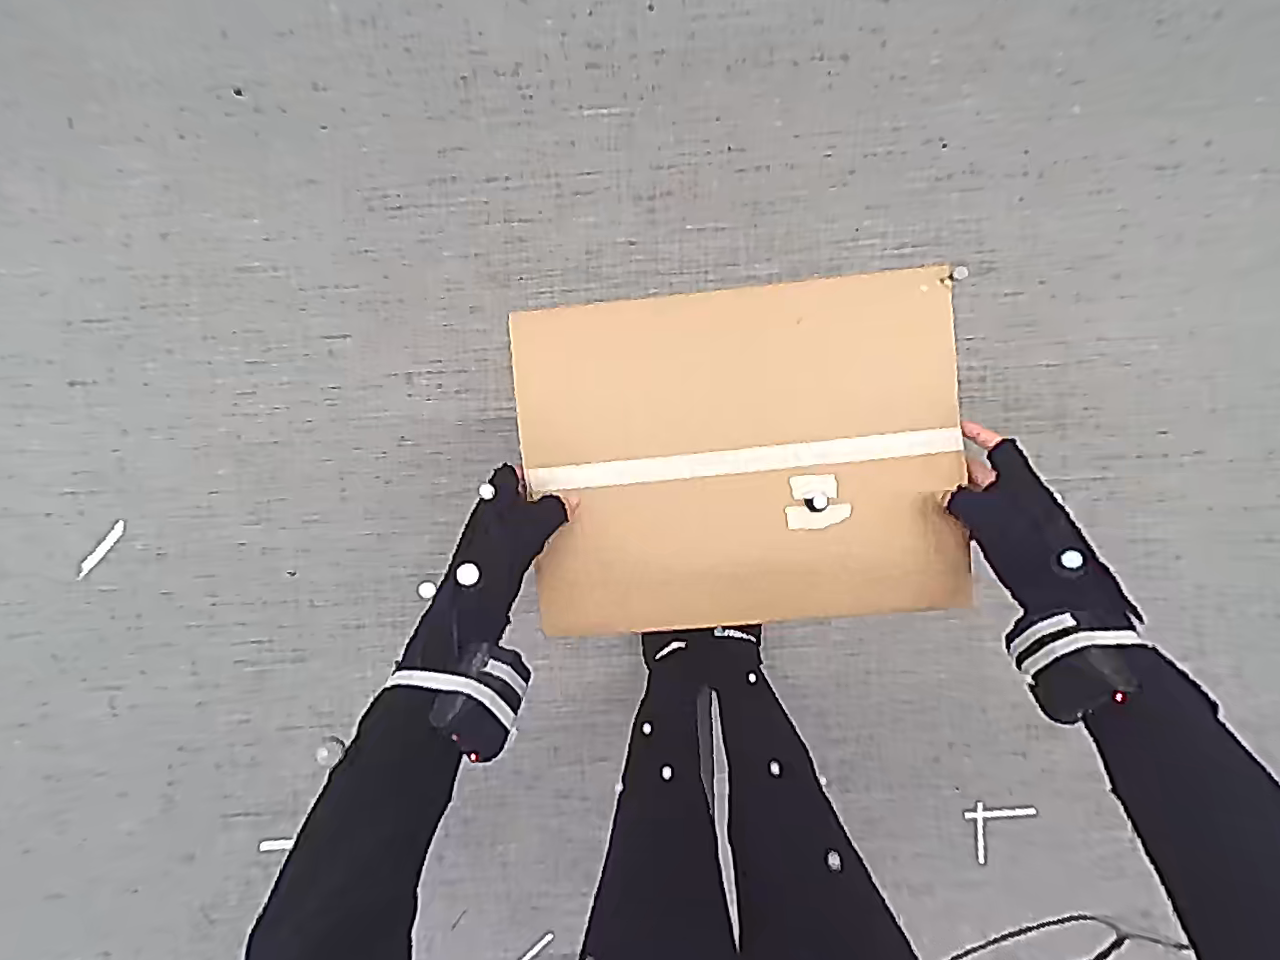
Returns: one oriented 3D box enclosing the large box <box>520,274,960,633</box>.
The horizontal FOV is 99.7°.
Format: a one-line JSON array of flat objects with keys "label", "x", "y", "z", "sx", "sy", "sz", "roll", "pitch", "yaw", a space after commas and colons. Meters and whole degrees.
[{"label": "large box", "x": 0.100, "y": -0.027, "z": 0.670, "sx": 0.408, "sy": 0.320, "sz": 0.320, "roll": -6, "pitch": 93, "yaw": 2}]
